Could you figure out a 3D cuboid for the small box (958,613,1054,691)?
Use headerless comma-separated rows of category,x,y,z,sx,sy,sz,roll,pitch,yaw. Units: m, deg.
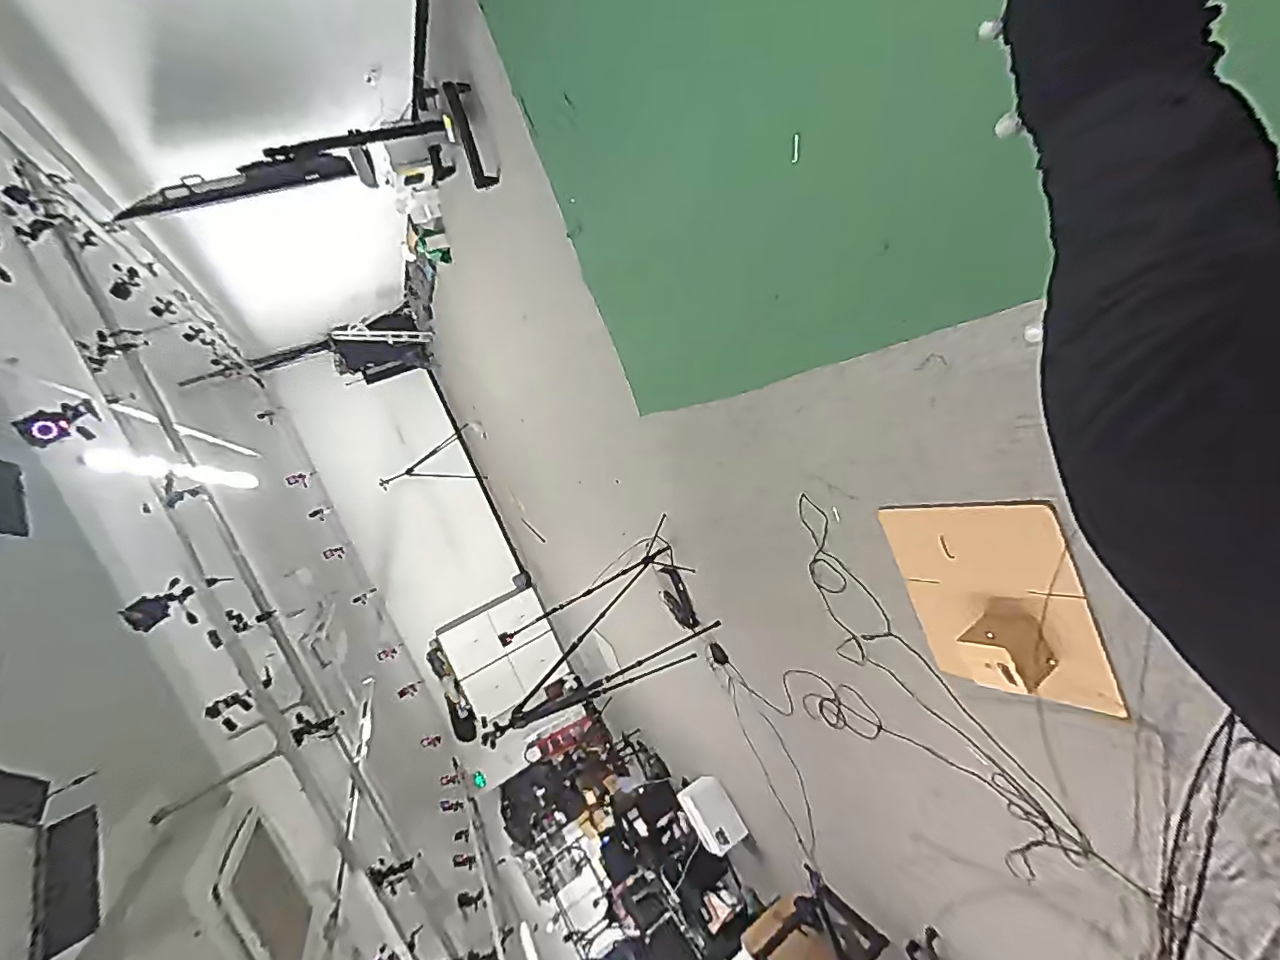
small box,1.169,0.538,1.719,0.168,0.176,0.179,64,157,-1
